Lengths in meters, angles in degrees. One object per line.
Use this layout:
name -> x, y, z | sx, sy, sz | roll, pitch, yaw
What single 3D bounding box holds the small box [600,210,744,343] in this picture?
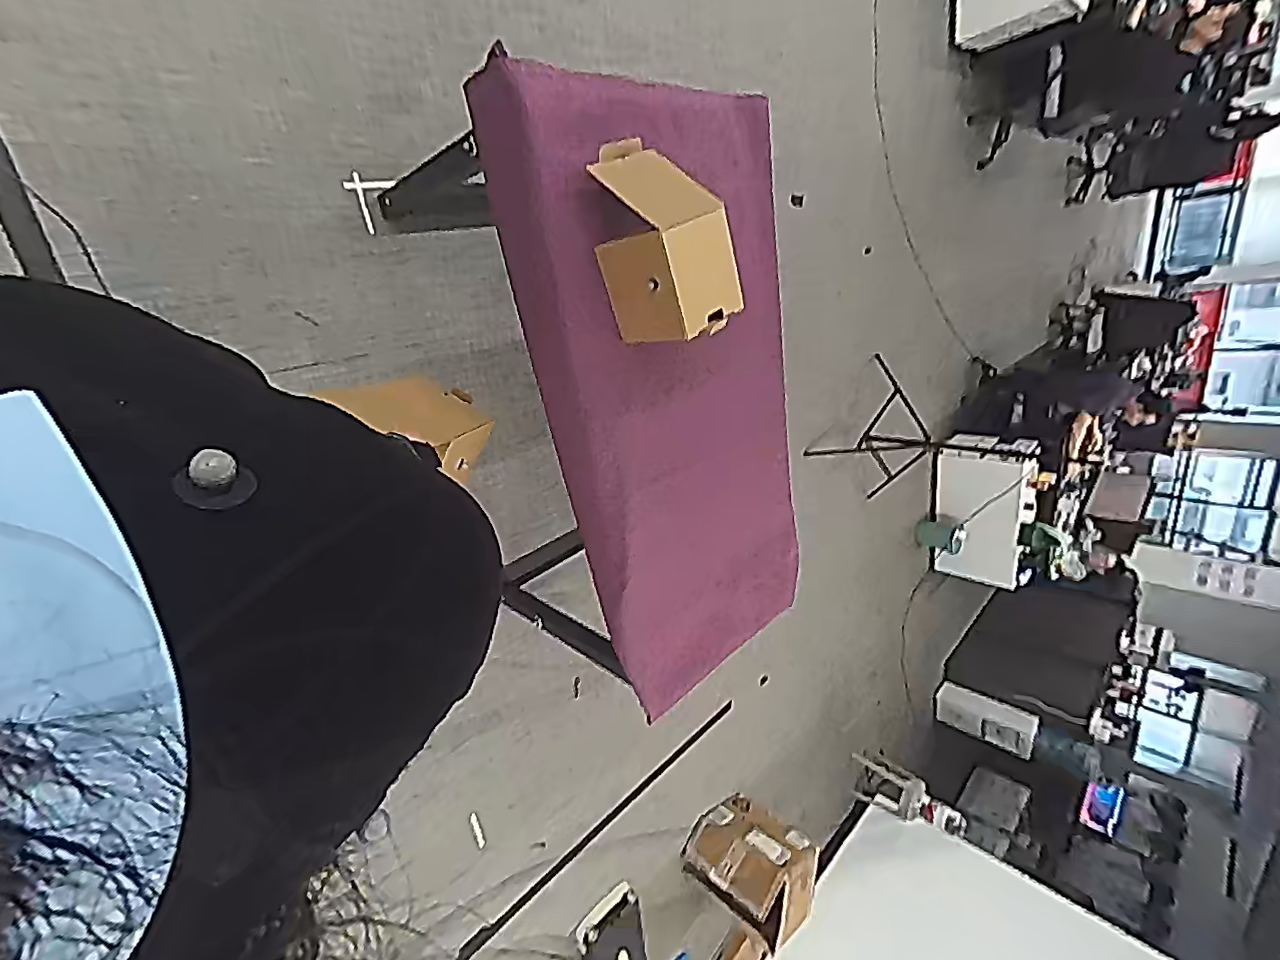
small box -> 0.054, -0.350, 0.950 | 0.168, 0.176, 0.179 | -35, 122, -32
